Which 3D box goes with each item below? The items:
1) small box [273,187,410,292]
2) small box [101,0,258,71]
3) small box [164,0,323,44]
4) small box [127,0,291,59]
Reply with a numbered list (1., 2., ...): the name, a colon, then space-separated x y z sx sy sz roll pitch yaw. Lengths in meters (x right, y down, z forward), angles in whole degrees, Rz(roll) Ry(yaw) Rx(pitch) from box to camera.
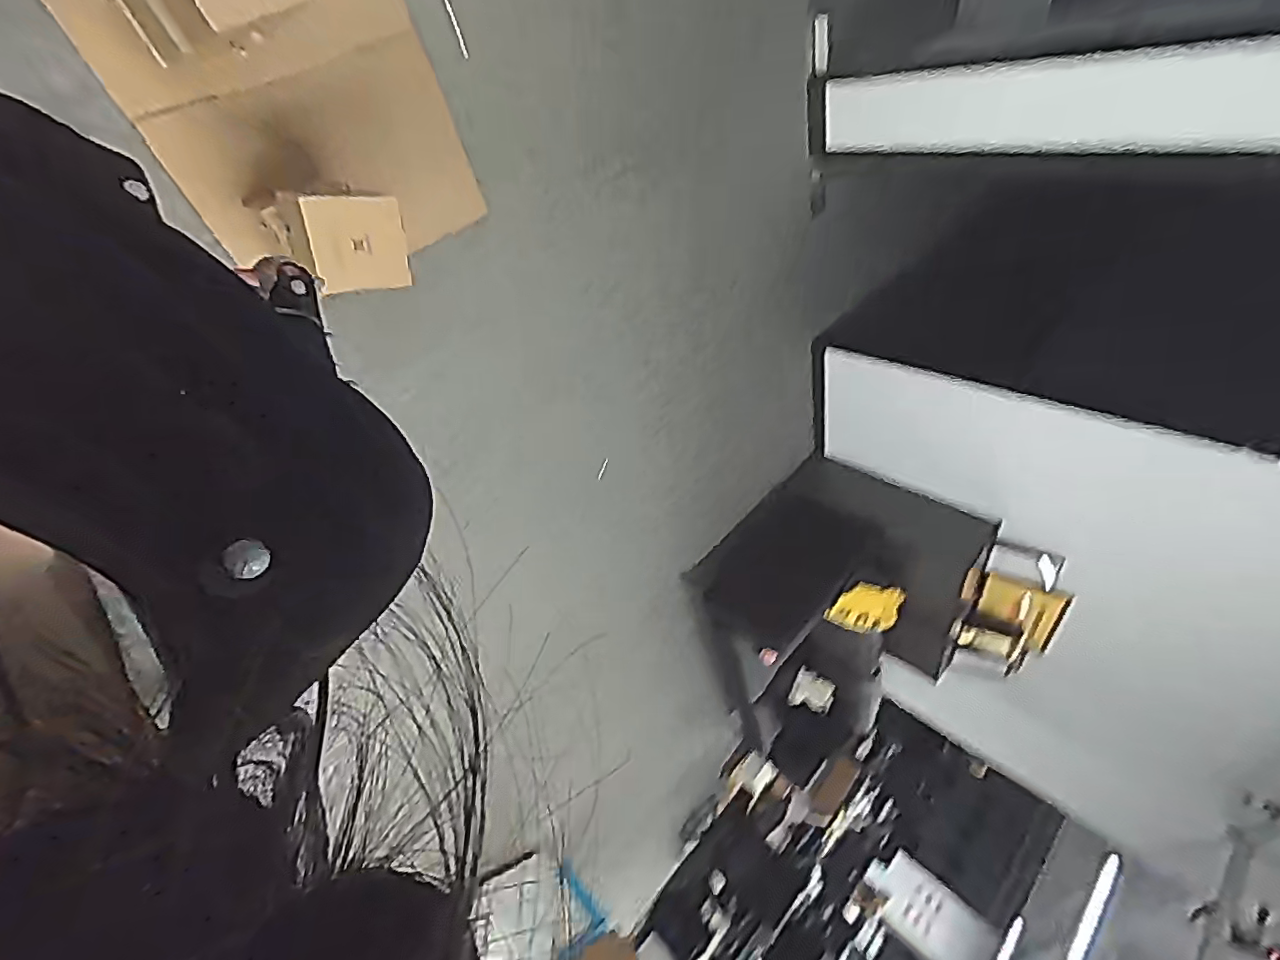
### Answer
1. small box: -0.585 -0.479 1.067 0.179 0.176 0.168 -23 129 -38
2. small box: -0.789 -0.811 0.904 0.179 0.176 0.168 -42 138 -23
3. small box: -0.553 -0.703 0.700 0.168 0.176 0.179 -42 139 -22
4. small box: -0.672 -0.753 0.803 0.179 0.176 0.168 -42 139 -23
